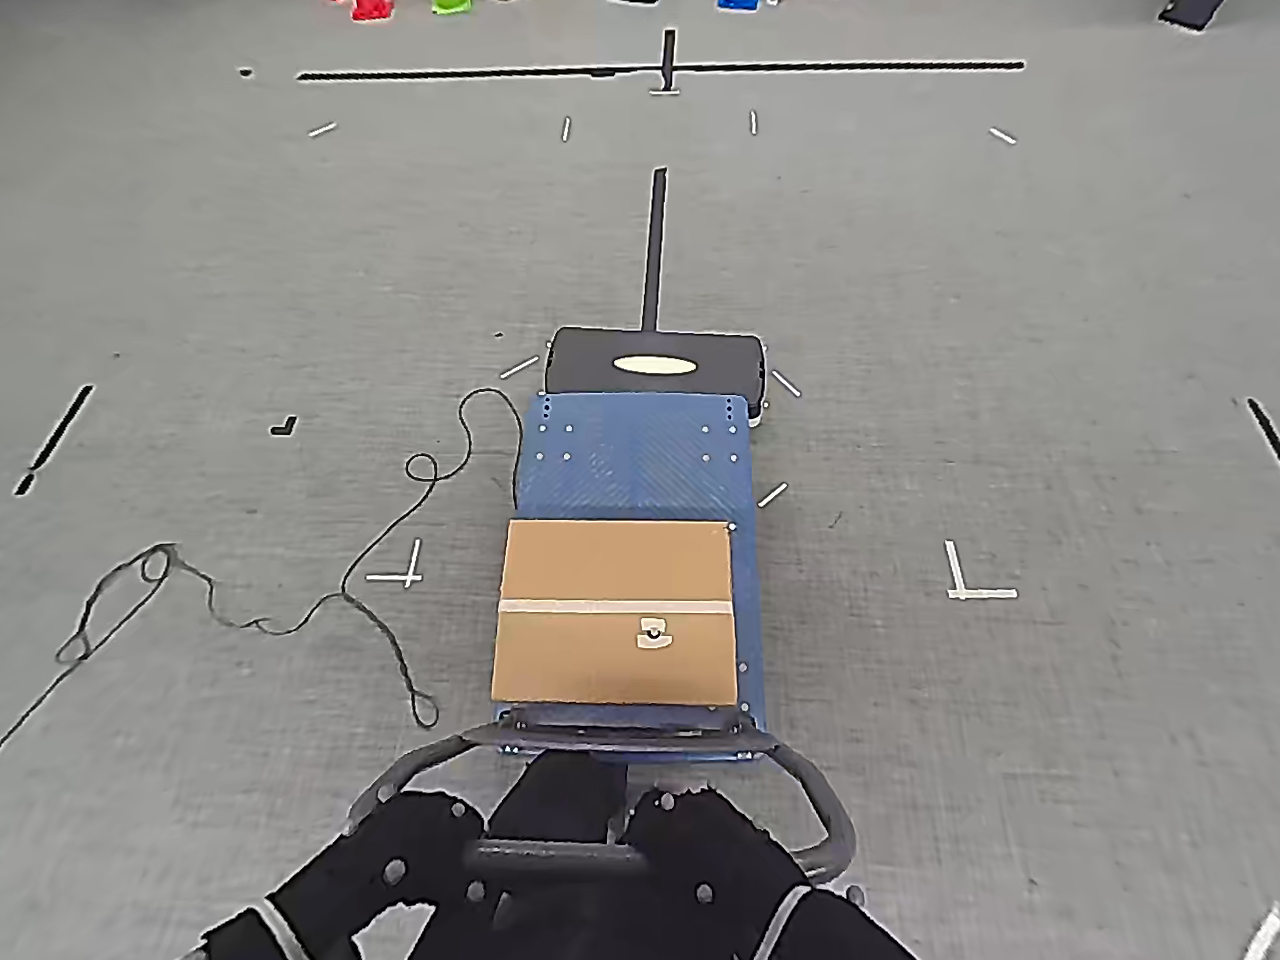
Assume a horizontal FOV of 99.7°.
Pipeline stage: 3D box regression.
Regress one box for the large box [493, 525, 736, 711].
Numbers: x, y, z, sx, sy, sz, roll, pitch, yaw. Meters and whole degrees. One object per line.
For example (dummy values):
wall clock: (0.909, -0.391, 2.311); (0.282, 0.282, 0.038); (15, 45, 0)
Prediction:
large box: (-0.041, 0.284, 1.066); (0.408, 0.320, 0.320); (1, 68, 1)
